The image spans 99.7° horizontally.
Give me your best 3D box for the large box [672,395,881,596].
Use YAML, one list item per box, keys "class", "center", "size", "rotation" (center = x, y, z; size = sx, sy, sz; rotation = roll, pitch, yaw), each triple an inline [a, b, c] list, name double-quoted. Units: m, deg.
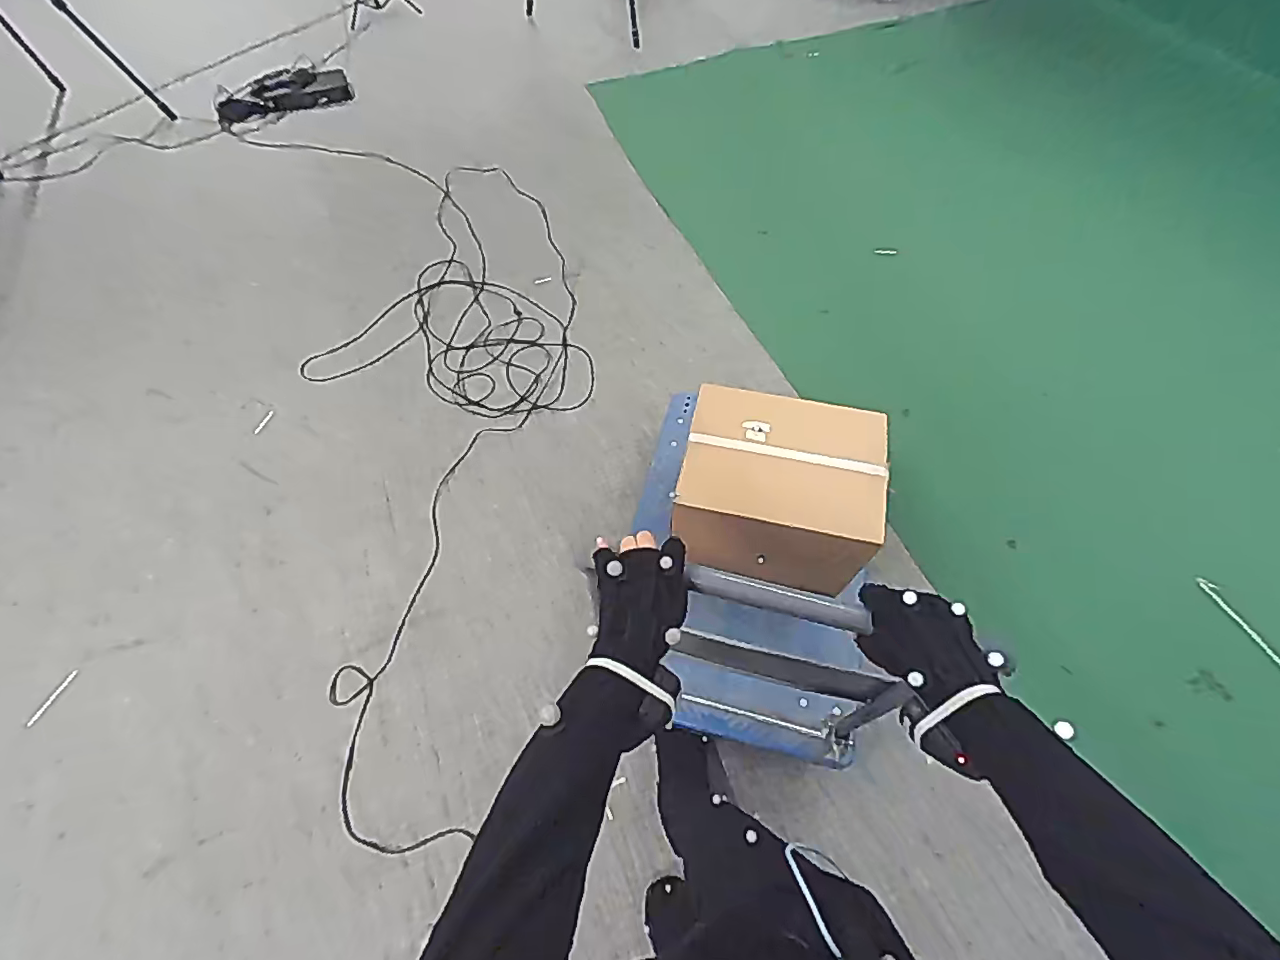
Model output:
- class: "large box"
  center: [0.301, 0.044, 1.248]
  size: [0.408, 0.320, 0.320]
  rotation: [11, 60, 9]
